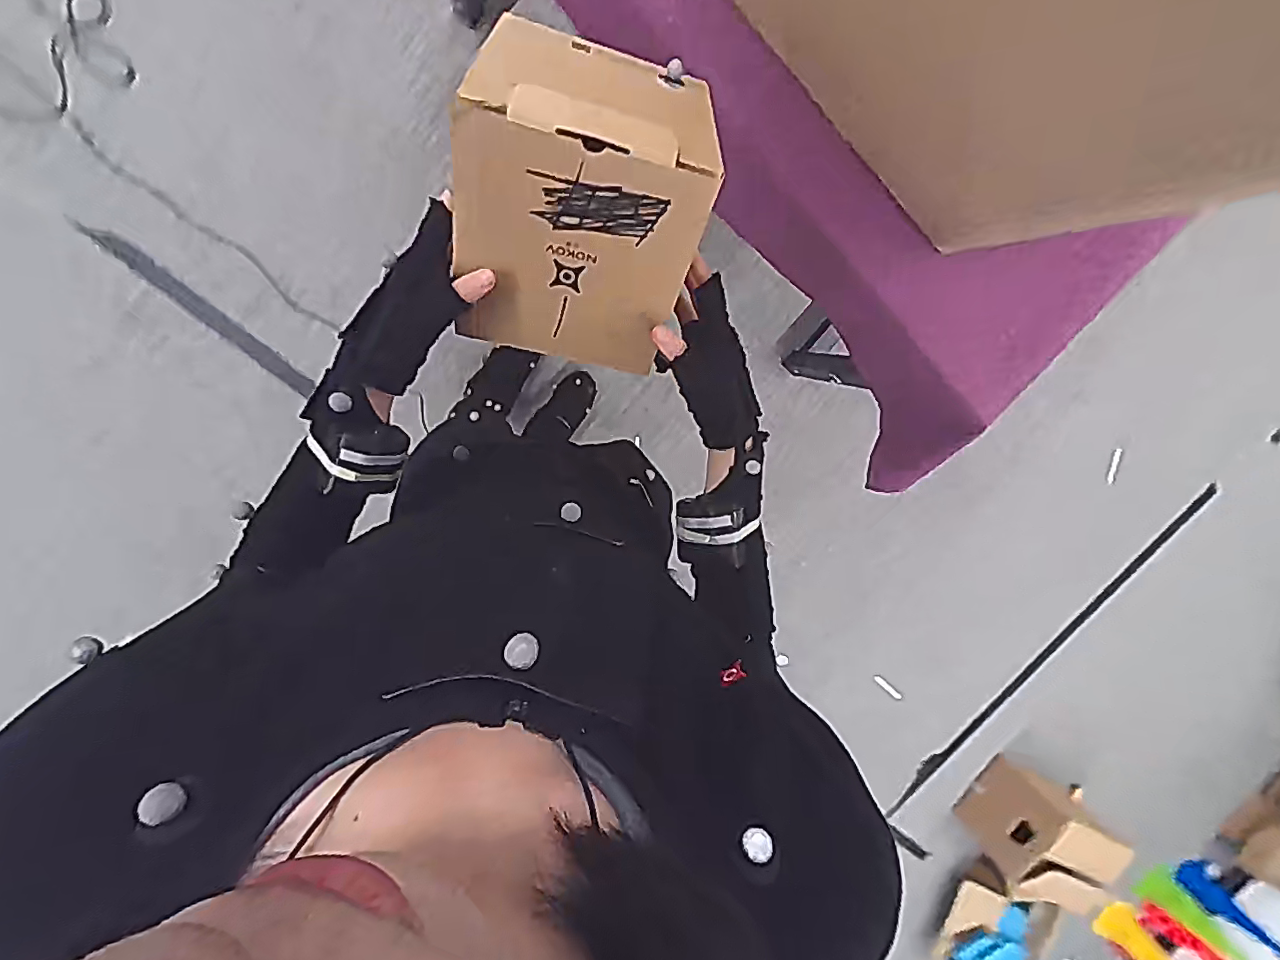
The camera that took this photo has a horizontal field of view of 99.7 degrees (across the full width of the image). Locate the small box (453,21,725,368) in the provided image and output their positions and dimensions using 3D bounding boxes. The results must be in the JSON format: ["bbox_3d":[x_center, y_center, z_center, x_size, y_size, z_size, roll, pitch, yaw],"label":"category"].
[{"bbox_3d":[-0.048,-0.222,0.430,0.168,0.176,0.179,9,140,-12],"label":"small box"}]
